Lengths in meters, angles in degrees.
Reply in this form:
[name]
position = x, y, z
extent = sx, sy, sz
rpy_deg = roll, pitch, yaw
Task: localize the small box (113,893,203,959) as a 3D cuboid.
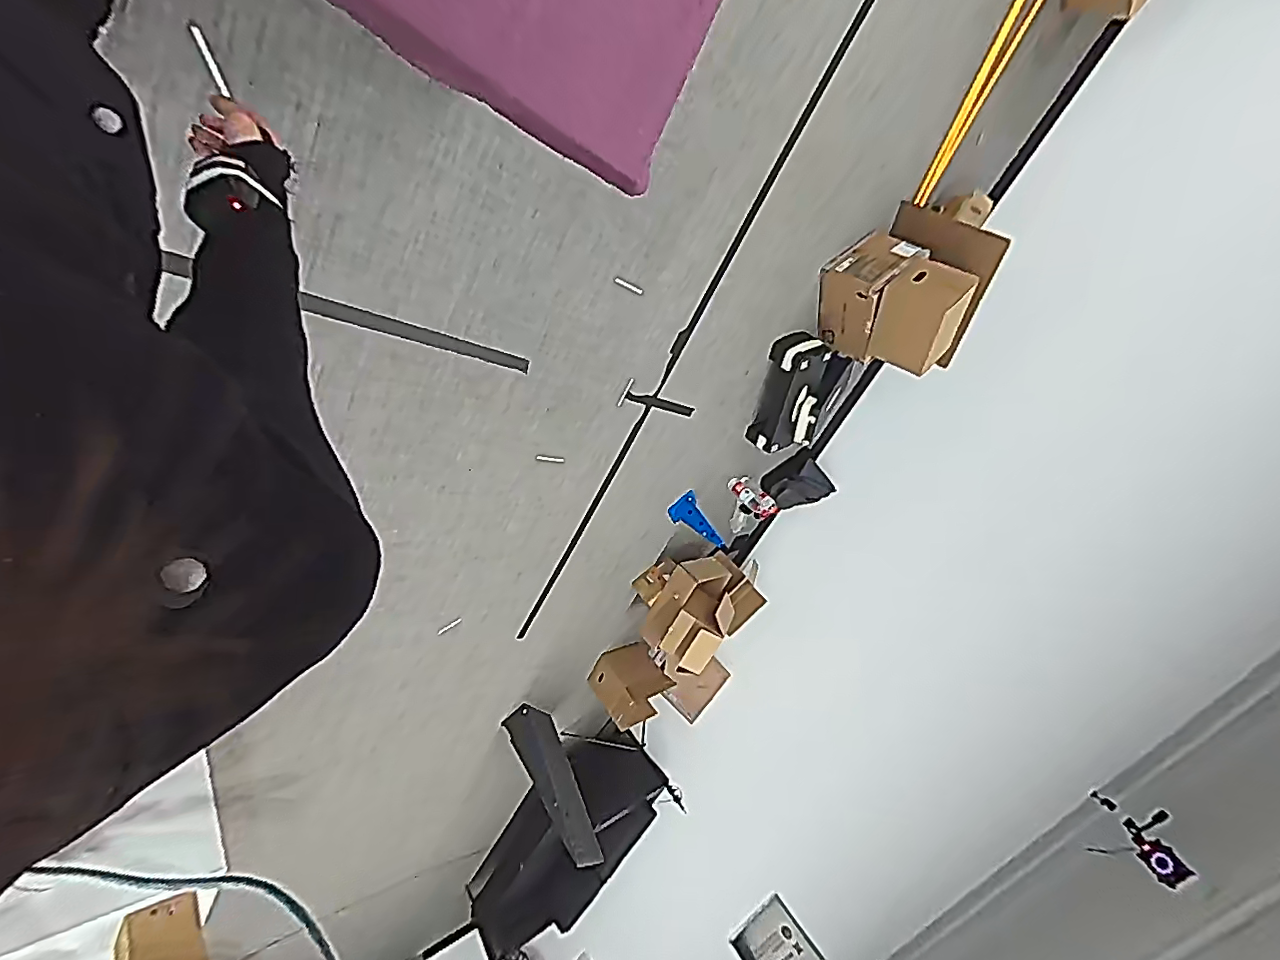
[small box]
position = -1.414, 1.371, 1.583
extent = 0.168, 0.176, 0.179
rpy_deg = 7, 121, -52
